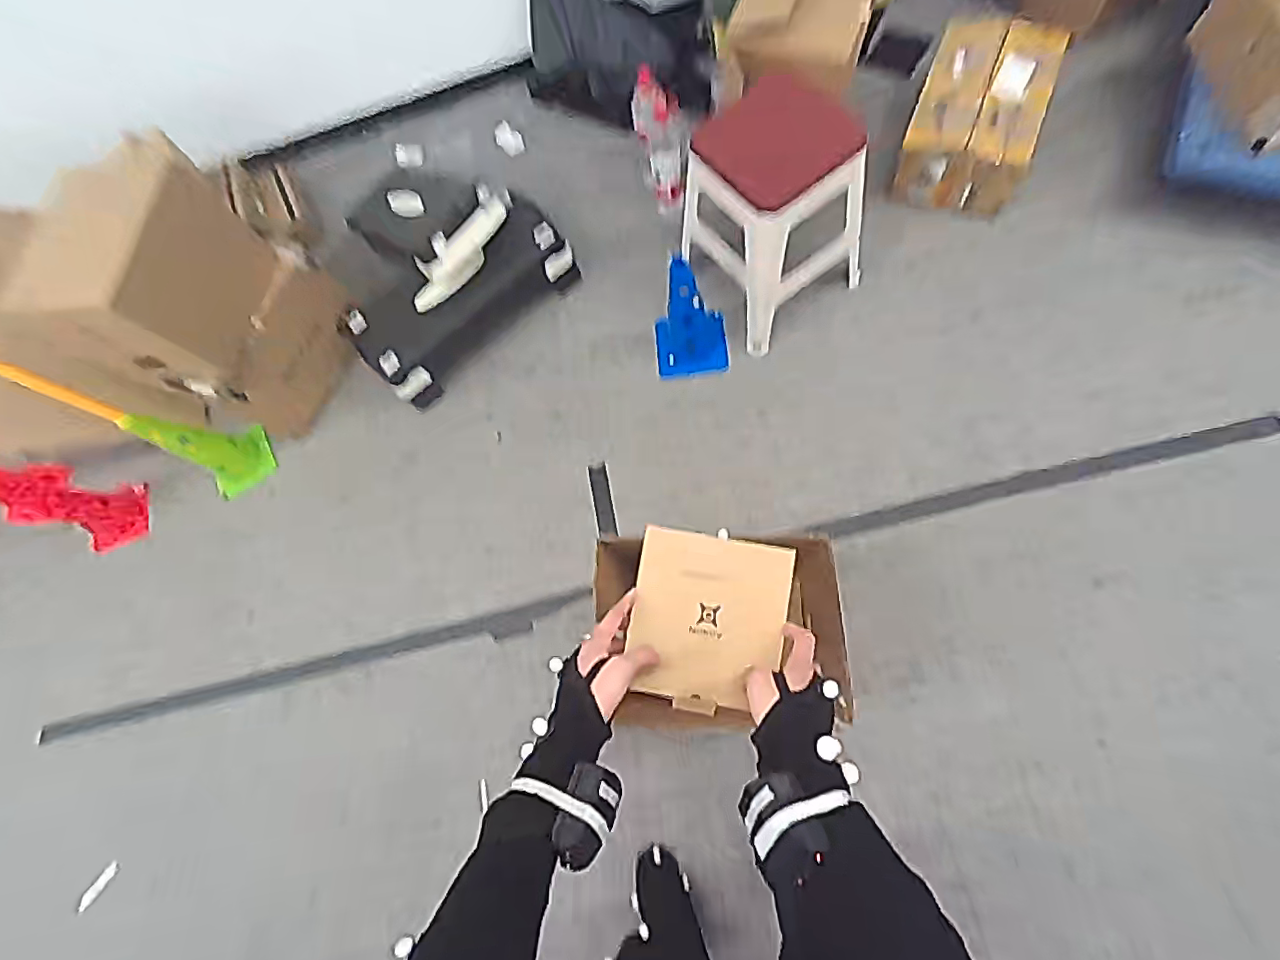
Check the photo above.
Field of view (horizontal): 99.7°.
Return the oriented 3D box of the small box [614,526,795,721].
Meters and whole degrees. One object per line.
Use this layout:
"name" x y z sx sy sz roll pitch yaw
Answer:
"small box" 0.072 0.160 0.652 0.168 0.176 0.179 11 83 2
